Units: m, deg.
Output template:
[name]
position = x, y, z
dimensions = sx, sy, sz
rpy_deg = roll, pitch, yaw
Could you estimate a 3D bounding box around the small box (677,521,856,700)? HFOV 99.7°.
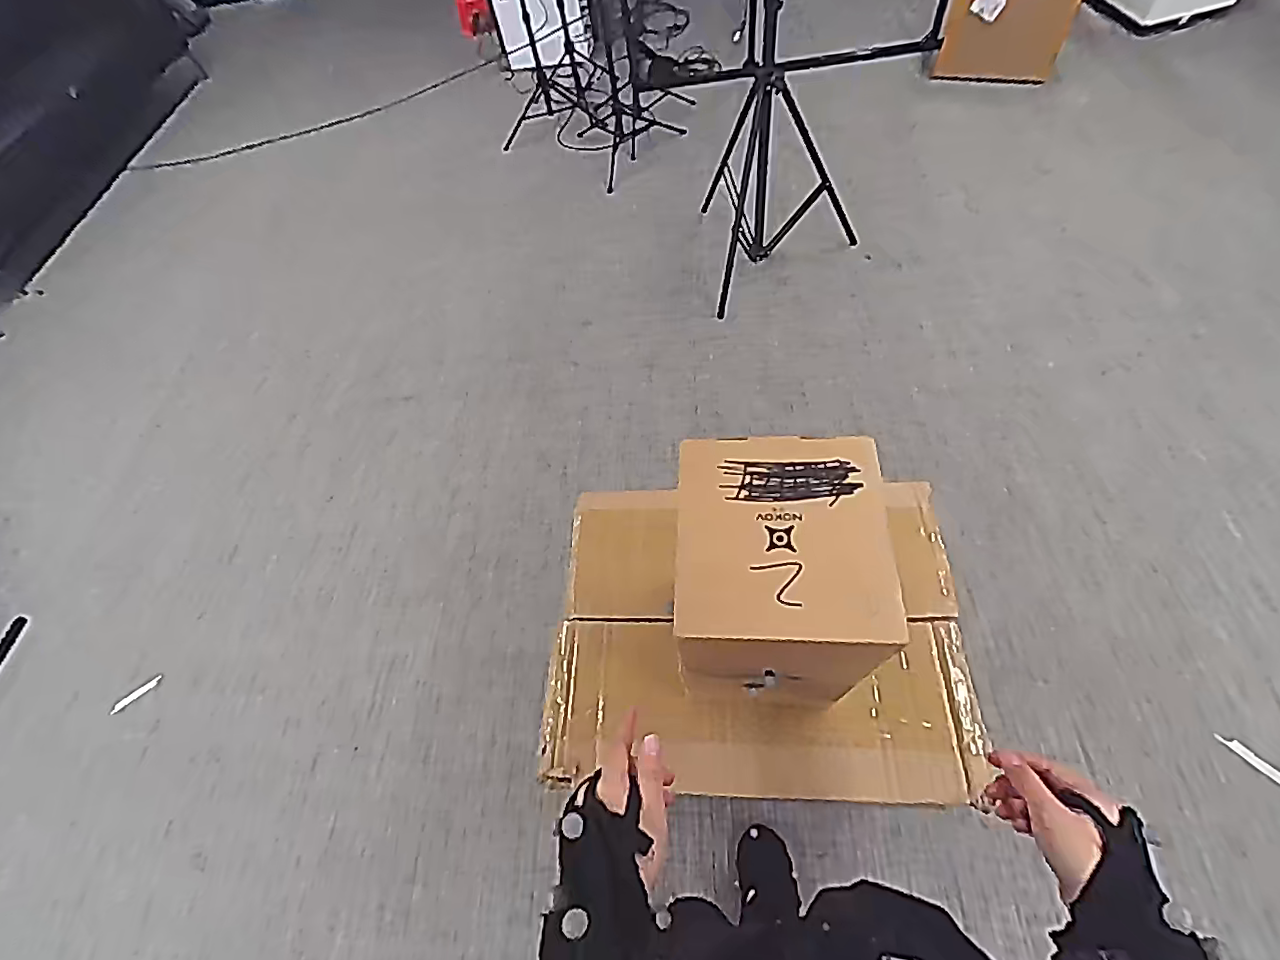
[small box]
position = 0.140, 0.158, 0.638
dimensions = 0.179, 0.176, 0.168
rpy_deg = 0, 60, 8
